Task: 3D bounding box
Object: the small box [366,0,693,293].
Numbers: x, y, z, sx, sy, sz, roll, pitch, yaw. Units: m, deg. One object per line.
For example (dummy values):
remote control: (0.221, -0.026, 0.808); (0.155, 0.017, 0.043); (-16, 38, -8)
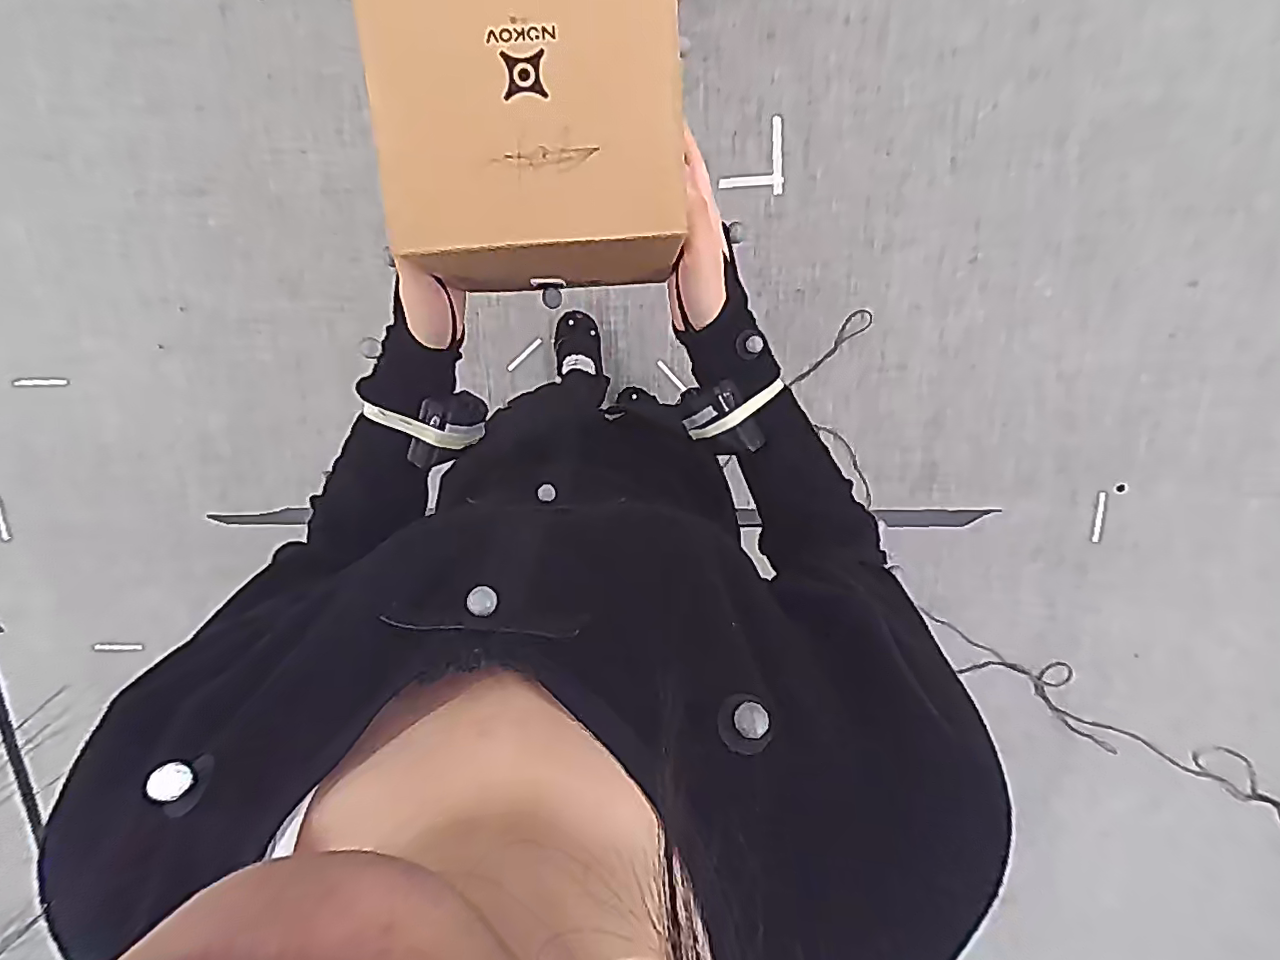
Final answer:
small box: (-0.059, -0.233, 0.363); (0.168, 0.176, 0.179); (-5, 102, 0)
